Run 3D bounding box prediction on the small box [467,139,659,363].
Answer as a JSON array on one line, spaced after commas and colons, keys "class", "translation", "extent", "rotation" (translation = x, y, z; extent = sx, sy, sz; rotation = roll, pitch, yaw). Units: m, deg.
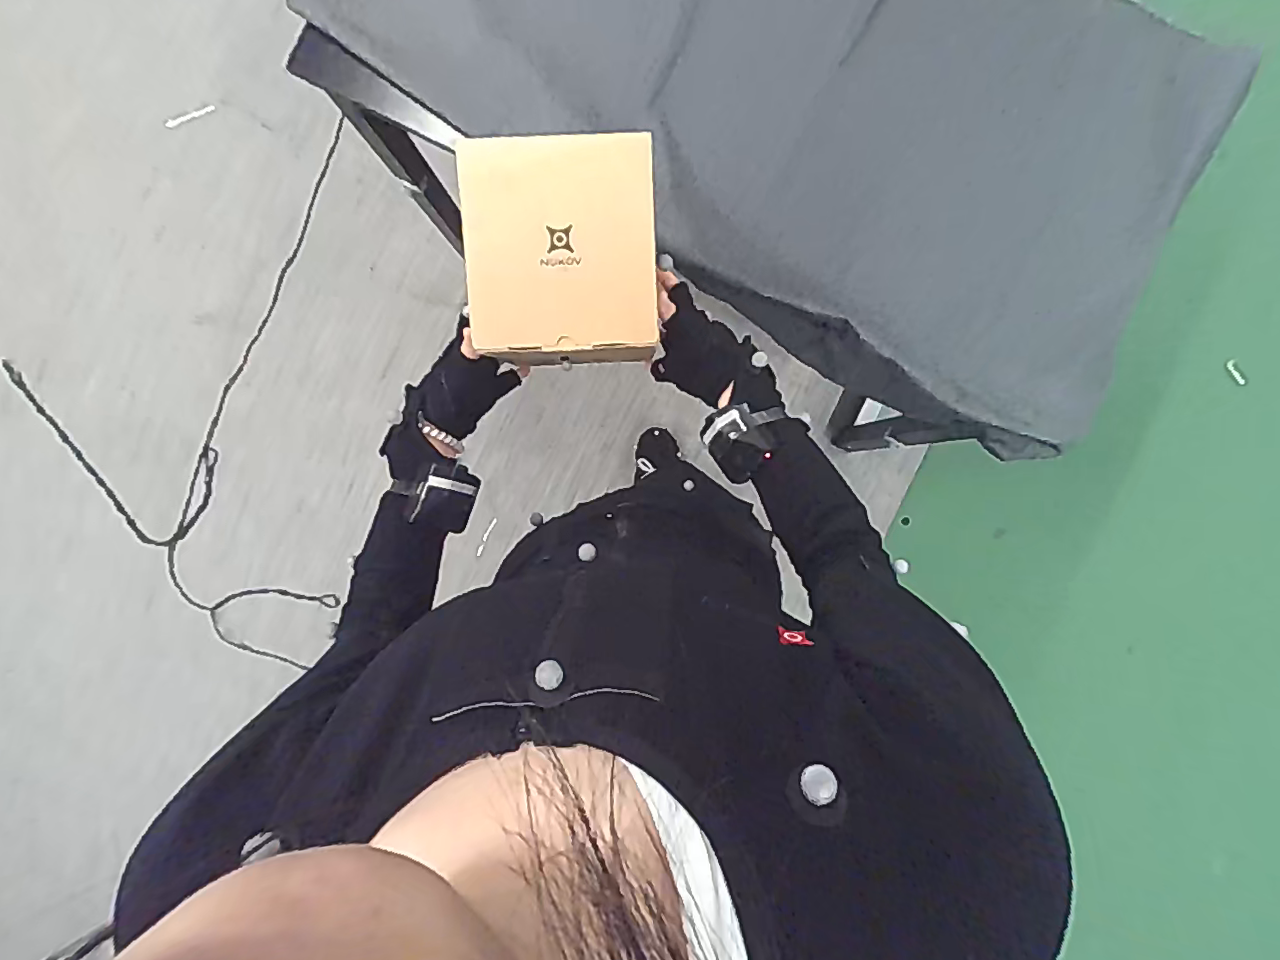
[{"class": "small box", "translation": [-0.070, -0.217, 0.554], "extent": [0.168, 0.176, 0.179], "rotation": [-2, 99, -2]}]
